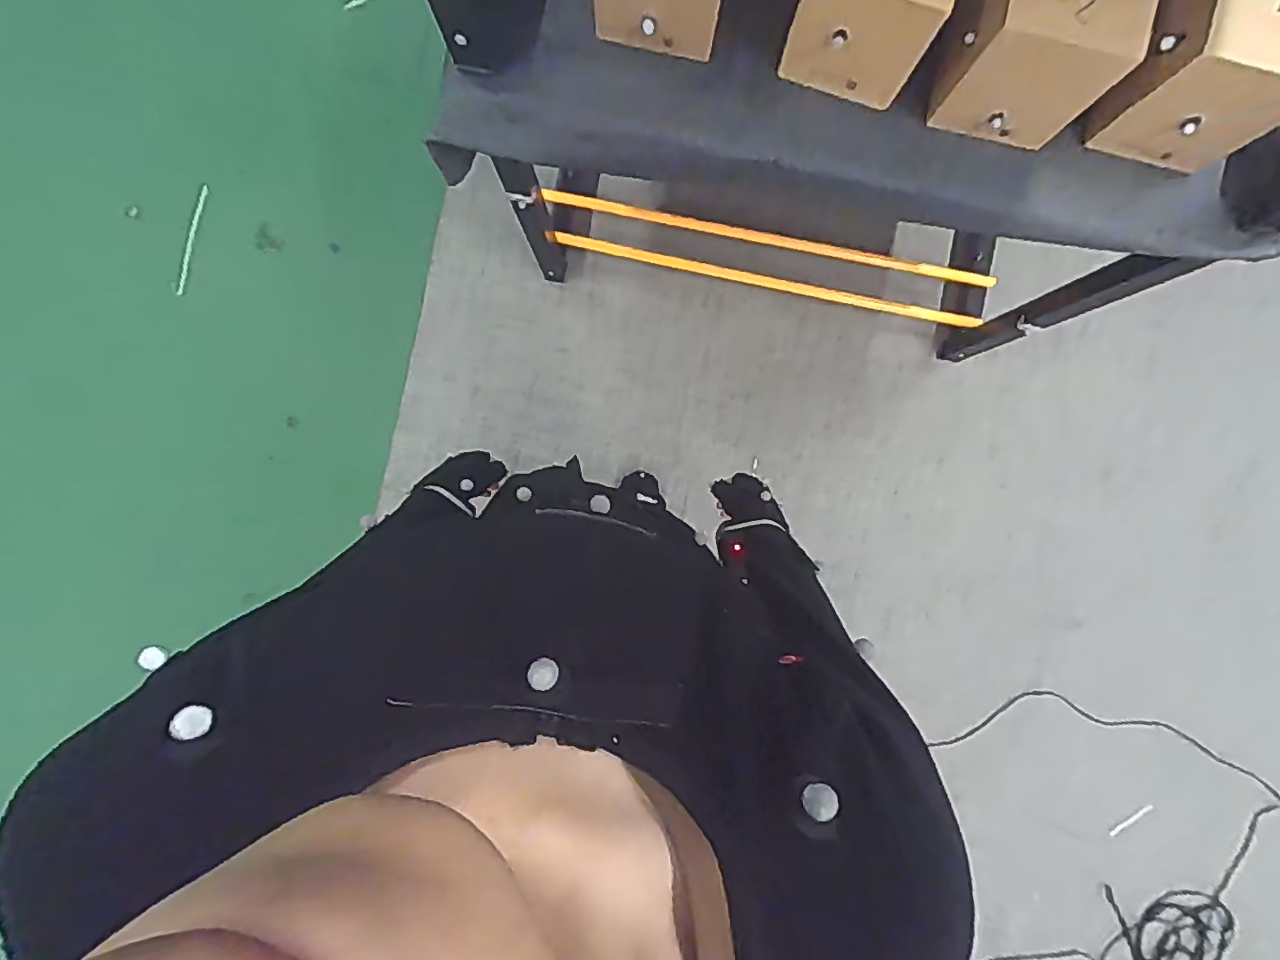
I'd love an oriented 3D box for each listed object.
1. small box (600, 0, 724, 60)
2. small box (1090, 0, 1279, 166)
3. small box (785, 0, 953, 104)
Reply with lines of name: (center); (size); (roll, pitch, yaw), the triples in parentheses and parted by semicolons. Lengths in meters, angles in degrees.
small box: (0.039, -0.698, 0.690); (0.168, 0.176, 0.179); (11, 90, 0)
small box: (0.733, -0.544, 0.693); (0.168, 0.176, 0.179); (15, 88, 0)
small box: (0.301, -0.635, 0.694); (0.168, 0.176, 0.179); (18, 89, 0)
